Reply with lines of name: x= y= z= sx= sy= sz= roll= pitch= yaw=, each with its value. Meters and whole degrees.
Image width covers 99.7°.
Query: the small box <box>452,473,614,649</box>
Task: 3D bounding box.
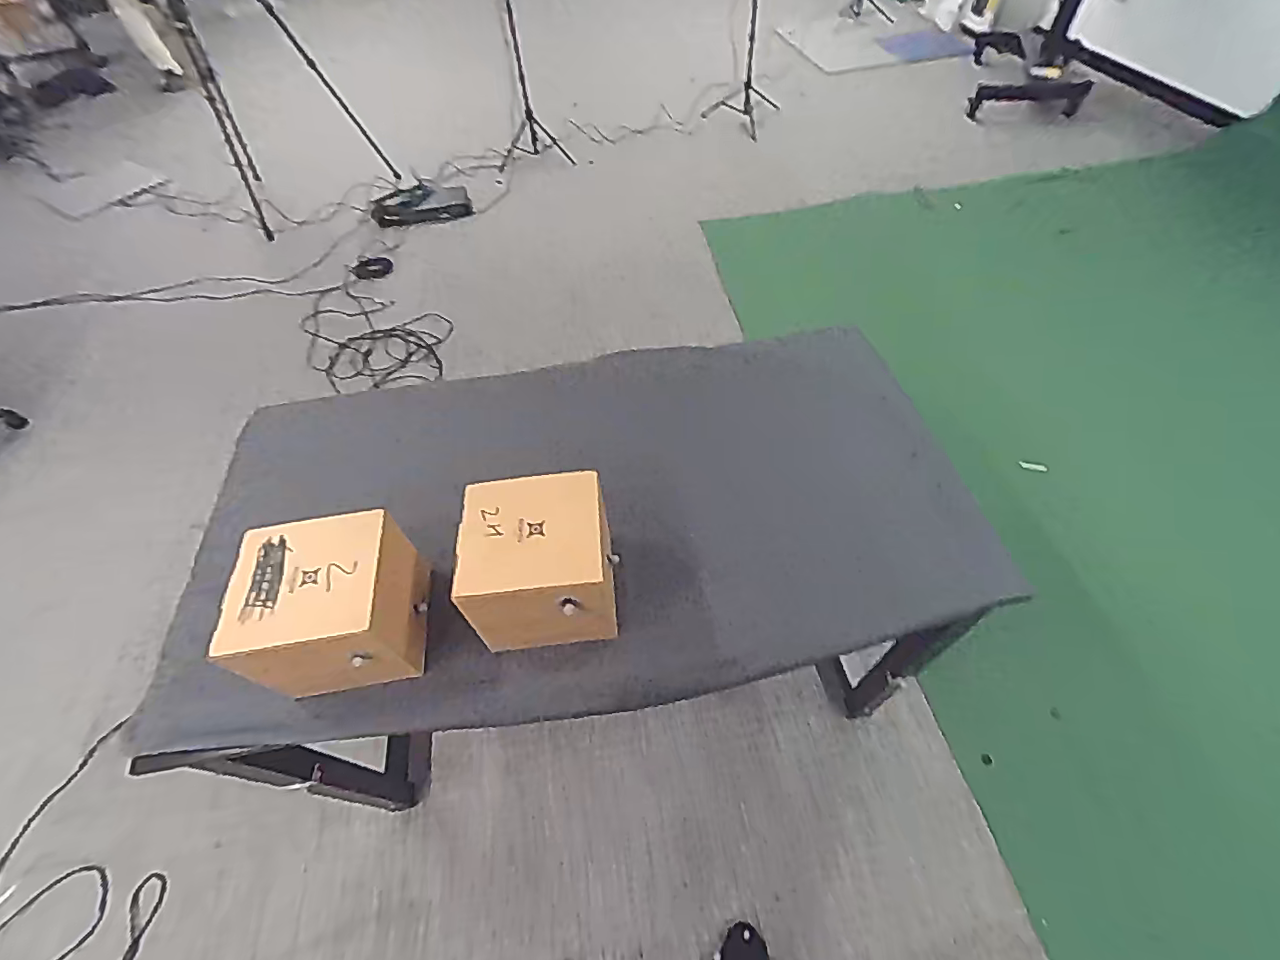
small box: x=-0.128 y=0.112 z=0.722 sx=0.179 sy=0.176 sz=0.168 roll=-7 pitch=52 yaw=1
